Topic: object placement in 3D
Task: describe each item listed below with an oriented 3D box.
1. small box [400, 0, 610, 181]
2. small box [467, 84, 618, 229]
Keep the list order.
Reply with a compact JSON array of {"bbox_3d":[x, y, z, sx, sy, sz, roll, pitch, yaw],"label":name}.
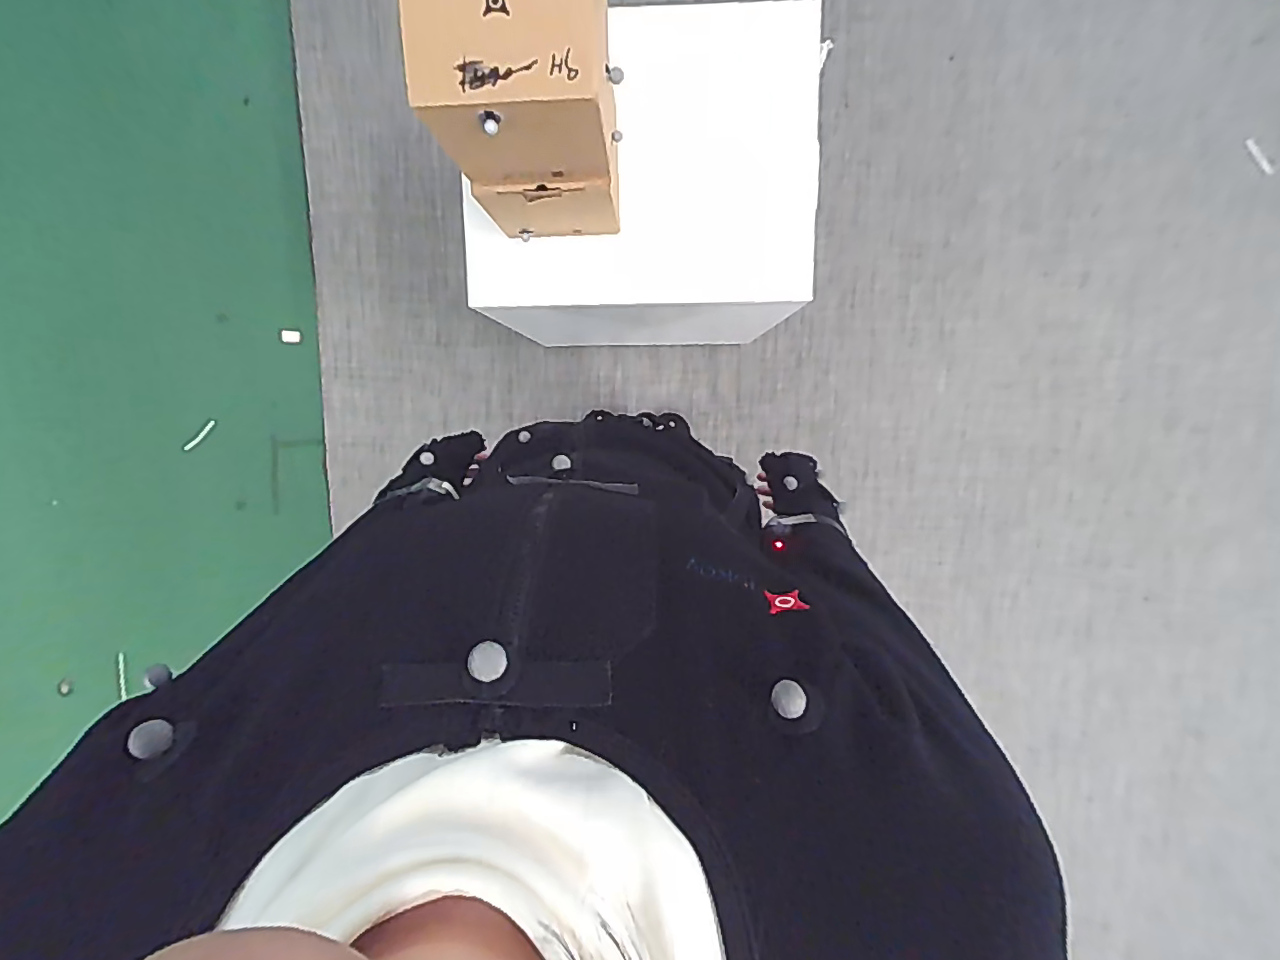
[{"bbox_3d":[-0.119,-0.424,0.533,0.168,0.176,0.179,-1,97,2],"label":"small box"},{"bbox_3d":[-0.117,-0.436,0.696,0.168,0.176,0.179,-1,97,2],"label":"small box"}]
